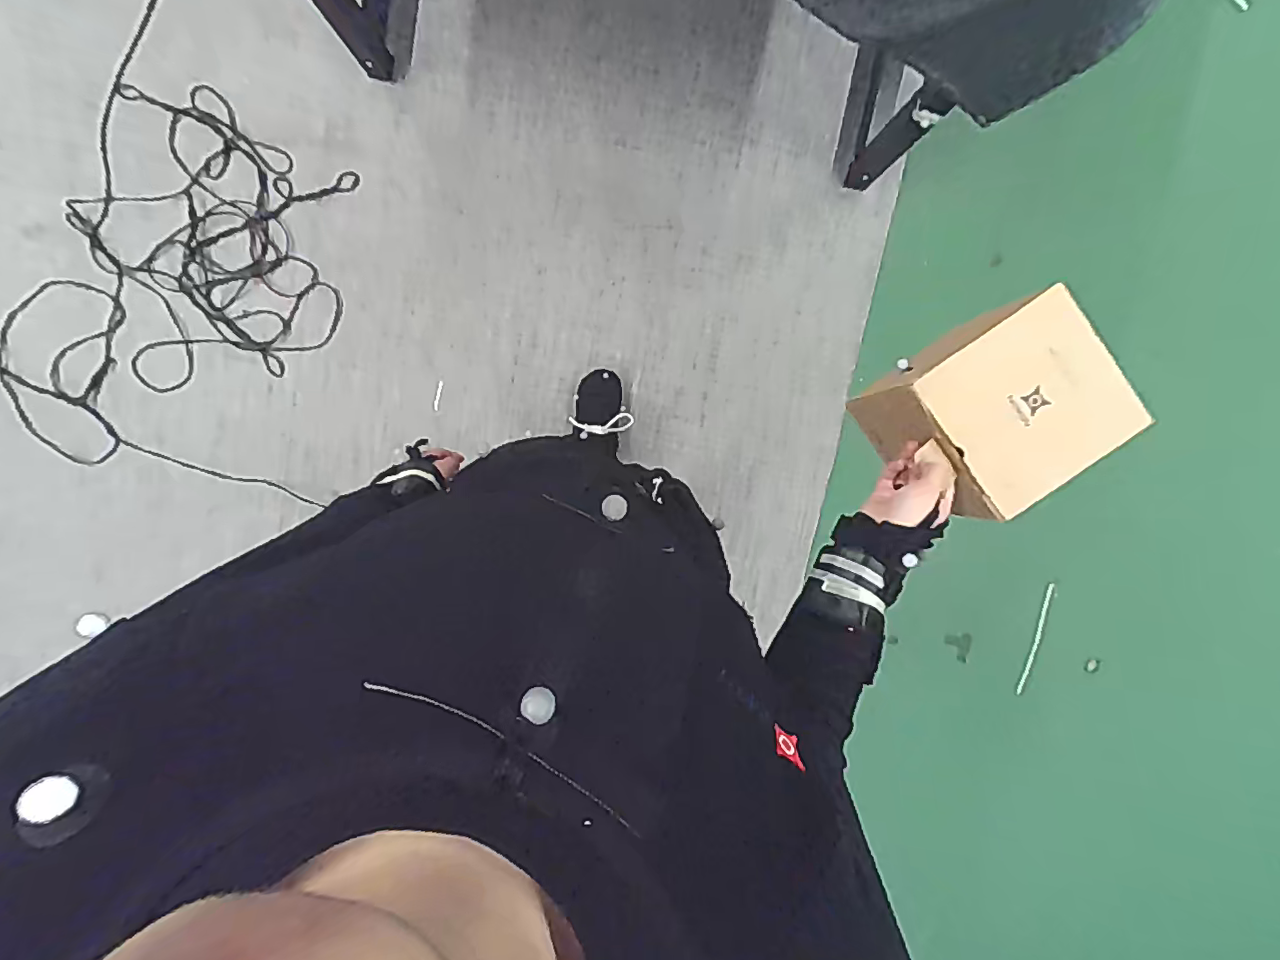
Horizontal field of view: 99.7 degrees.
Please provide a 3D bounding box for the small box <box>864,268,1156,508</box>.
[{"bbox_3d":[0.375,-0.089,0.592,0.179,0.176,0.168,-35,93,1],"label":"small box"}]
